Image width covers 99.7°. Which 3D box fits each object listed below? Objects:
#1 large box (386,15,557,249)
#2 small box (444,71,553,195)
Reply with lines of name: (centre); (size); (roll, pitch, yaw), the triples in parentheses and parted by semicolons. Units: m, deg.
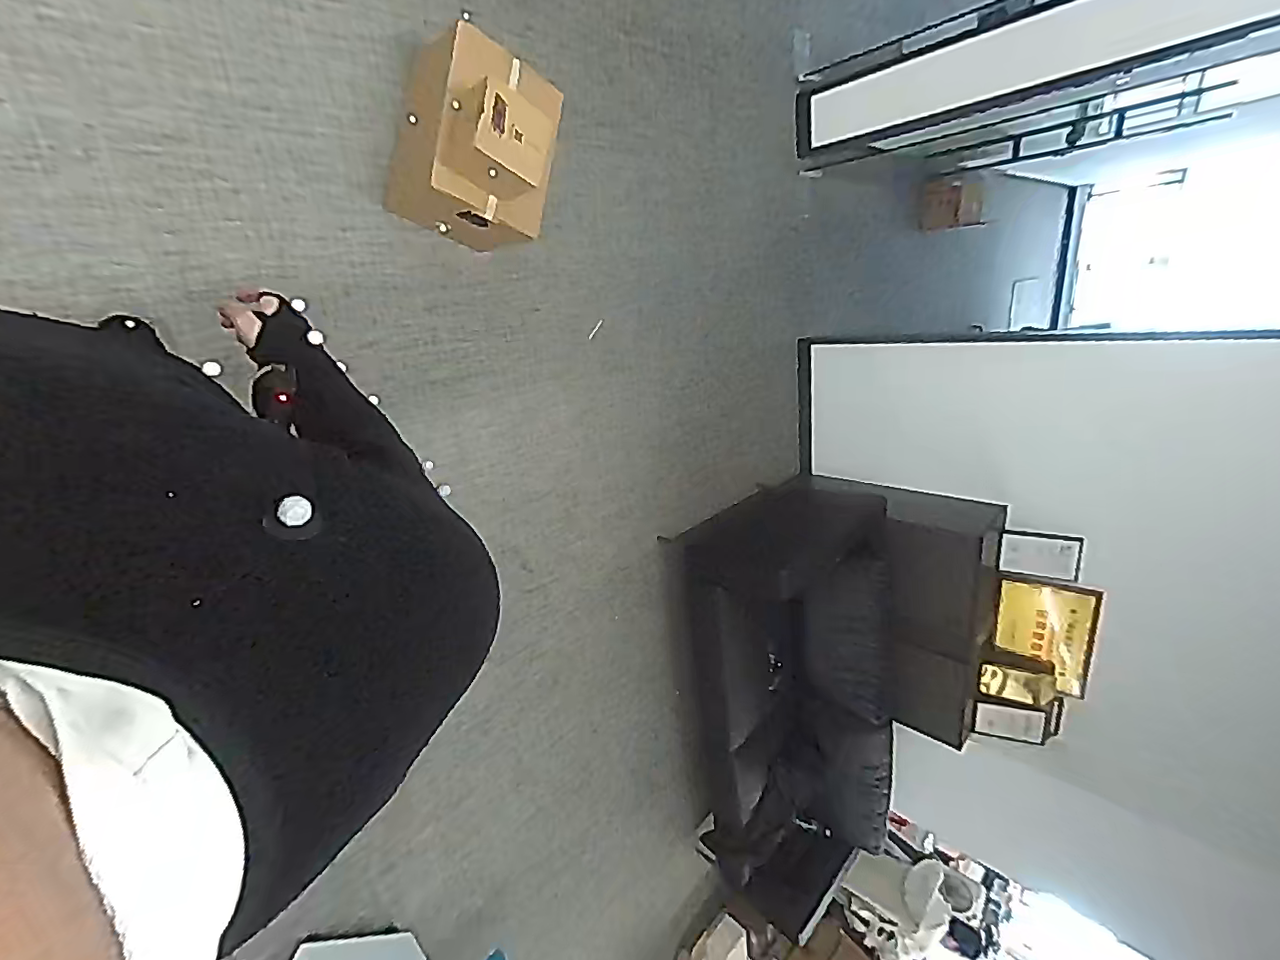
large box: (-0.469, -0.910, 1.490); (0.320, 0.320, 0.408); (8, 93, -47)
small box: (-0.341, -0.810, 1.289); (0.179, 0.176, 0.168); (13, 90, -45)
